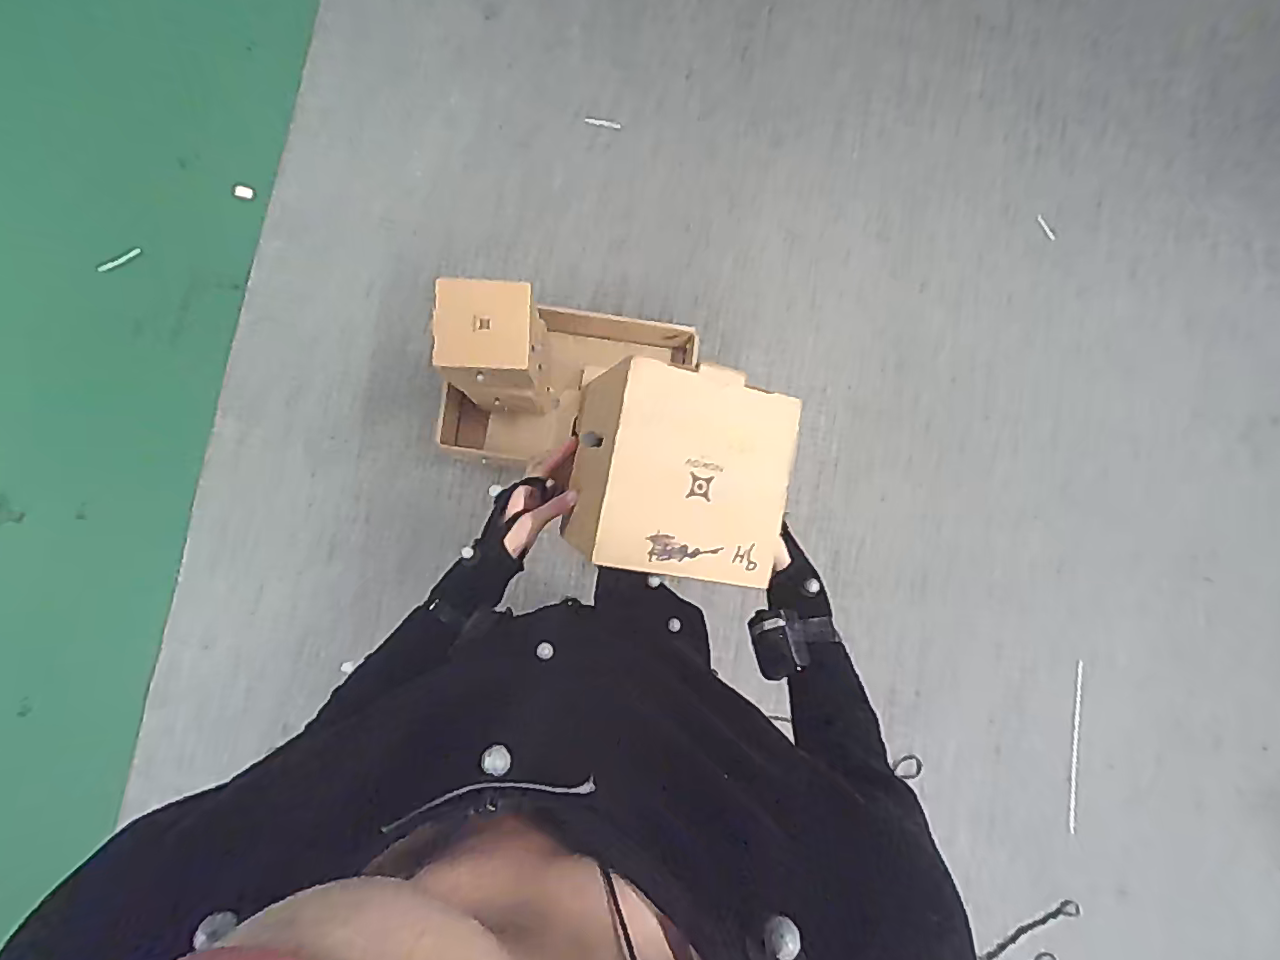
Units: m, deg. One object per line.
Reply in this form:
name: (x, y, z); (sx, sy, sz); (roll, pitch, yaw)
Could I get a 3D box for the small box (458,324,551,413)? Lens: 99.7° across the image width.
small box: (-0.301, -0.259, 1.237); (0.168, 0.176, 0.179); (9, 86, -4)

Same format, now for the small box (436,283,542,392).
small box: (-0.291, -0.274, 1.075); (0.179, 0.176, 0.168); (1, 87, -4)

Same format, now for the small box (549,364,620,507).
small box: (-0.015, -0.038, 0.700); (0.179, 0.176, 0.168); (10, 88, -16)

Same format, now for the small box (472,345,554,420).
small box: (-0.321, -0.256, 1.399); (0.179, 0.176, 0.168); (4, 86, -5)

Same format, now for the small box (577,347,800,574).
small box: (0.036, -0.011, 0.536); (0.168, 0.176, 0.179); (8, 86, -14)
